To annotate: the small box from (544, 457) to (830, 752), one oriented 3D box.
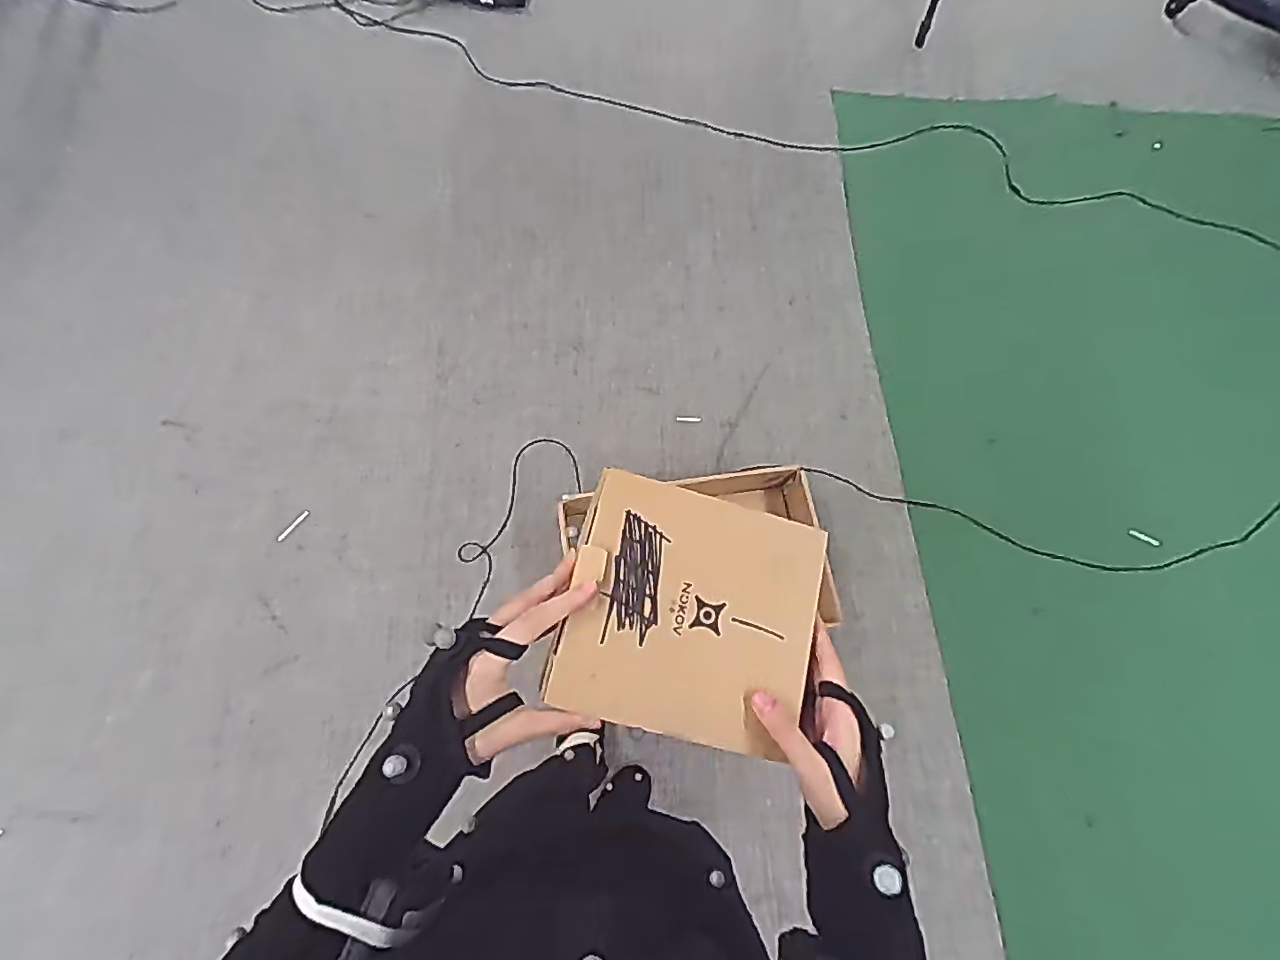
[{"bbox_3d":[0.026,0.102,0.450,0.179,0.176,0.168,18,73,-7],"label":"small box"}]
